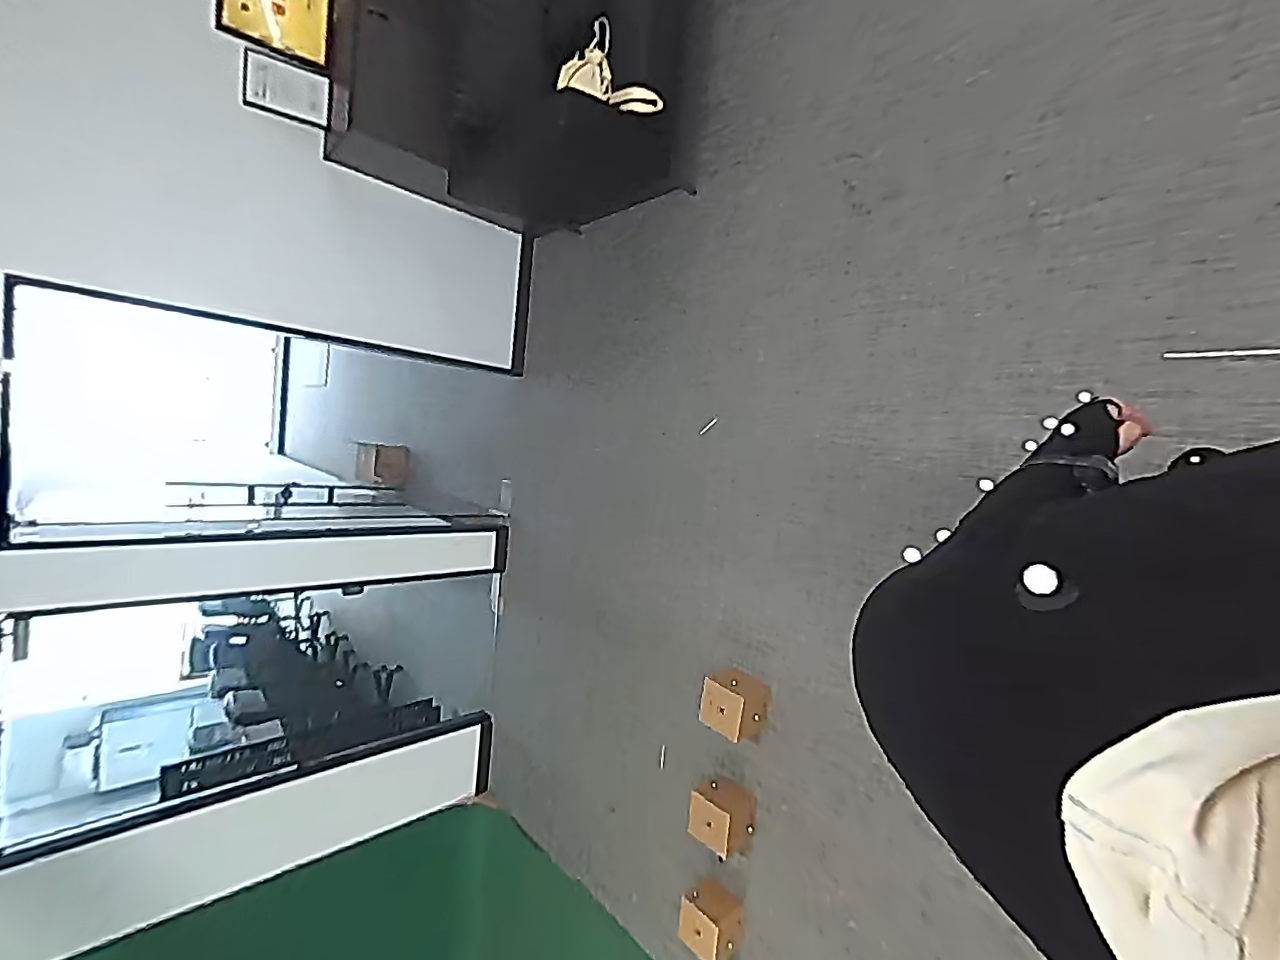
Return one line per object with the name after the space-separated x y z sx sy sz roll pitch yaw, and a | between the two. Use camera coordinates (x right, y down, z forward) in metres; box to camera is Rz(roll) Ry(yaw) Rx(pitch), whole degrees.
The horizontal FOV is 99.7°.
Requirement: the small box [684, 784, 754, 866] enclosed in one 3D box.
0.286 1.229 1.947 0.179 0.176 0.168 8 94 46 | small box

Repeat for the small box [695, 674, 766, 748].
0.327 0.813 1.925 0.179 0.176 0.168 14 98 46 | small box

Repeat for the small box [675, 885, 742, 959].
0.250 1.627 1.962 0.179 0.176 0.168 8 94 47 | small box
